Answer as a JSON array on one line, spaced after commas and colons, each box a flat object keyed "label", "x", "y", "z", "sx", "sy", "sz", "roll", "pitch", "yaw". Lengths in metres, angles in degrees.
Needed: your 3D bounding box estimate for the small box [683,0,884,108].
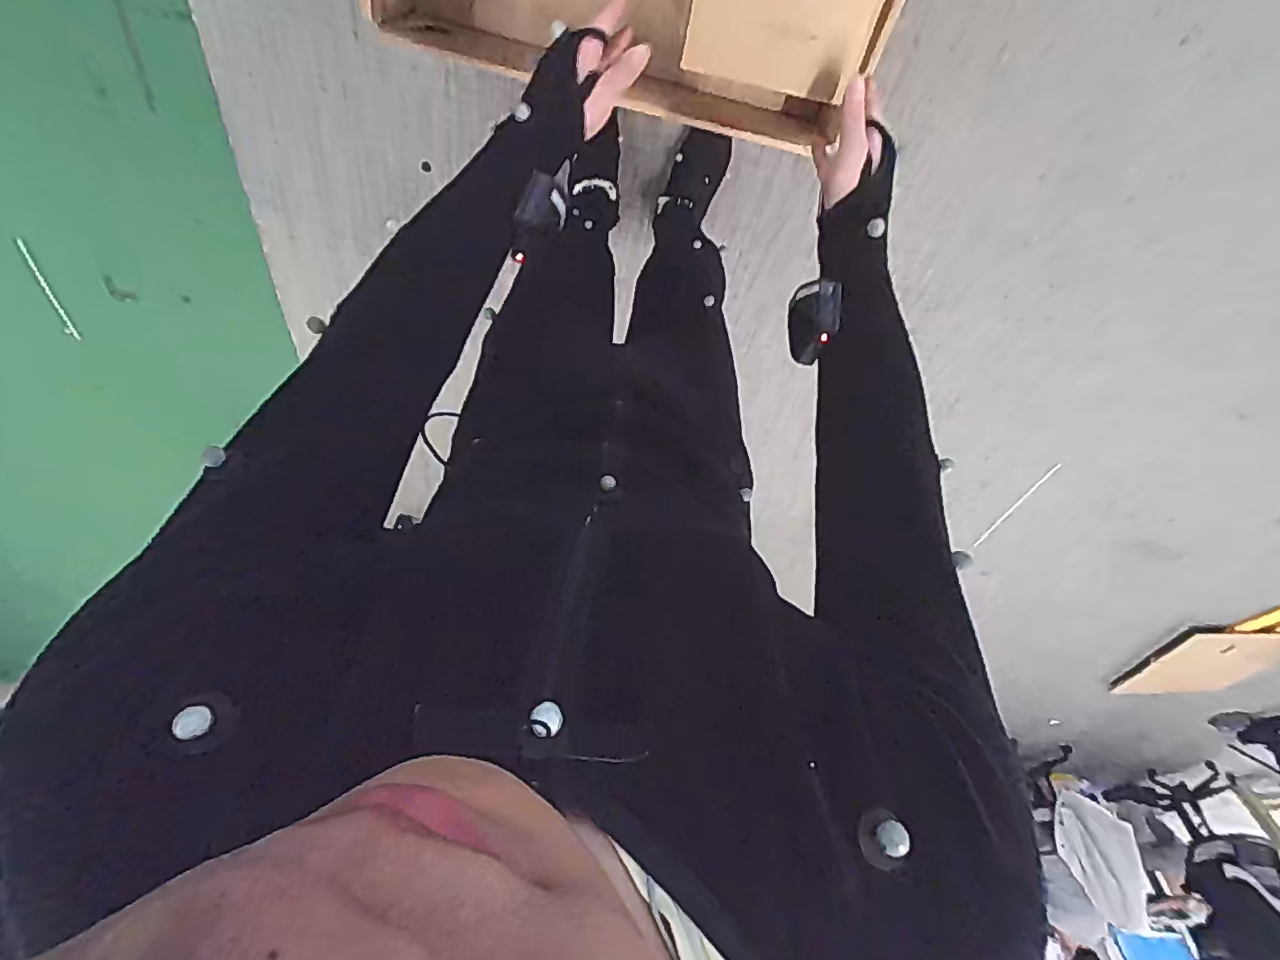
[{"label": "small box", "x": 0.138, "y": -0.494, "z": 0.515, "sx": 0.168, "sy": 0.176, "sz": 0.179, "roll": 10, "pitch": 136, "yaw": -6}]
